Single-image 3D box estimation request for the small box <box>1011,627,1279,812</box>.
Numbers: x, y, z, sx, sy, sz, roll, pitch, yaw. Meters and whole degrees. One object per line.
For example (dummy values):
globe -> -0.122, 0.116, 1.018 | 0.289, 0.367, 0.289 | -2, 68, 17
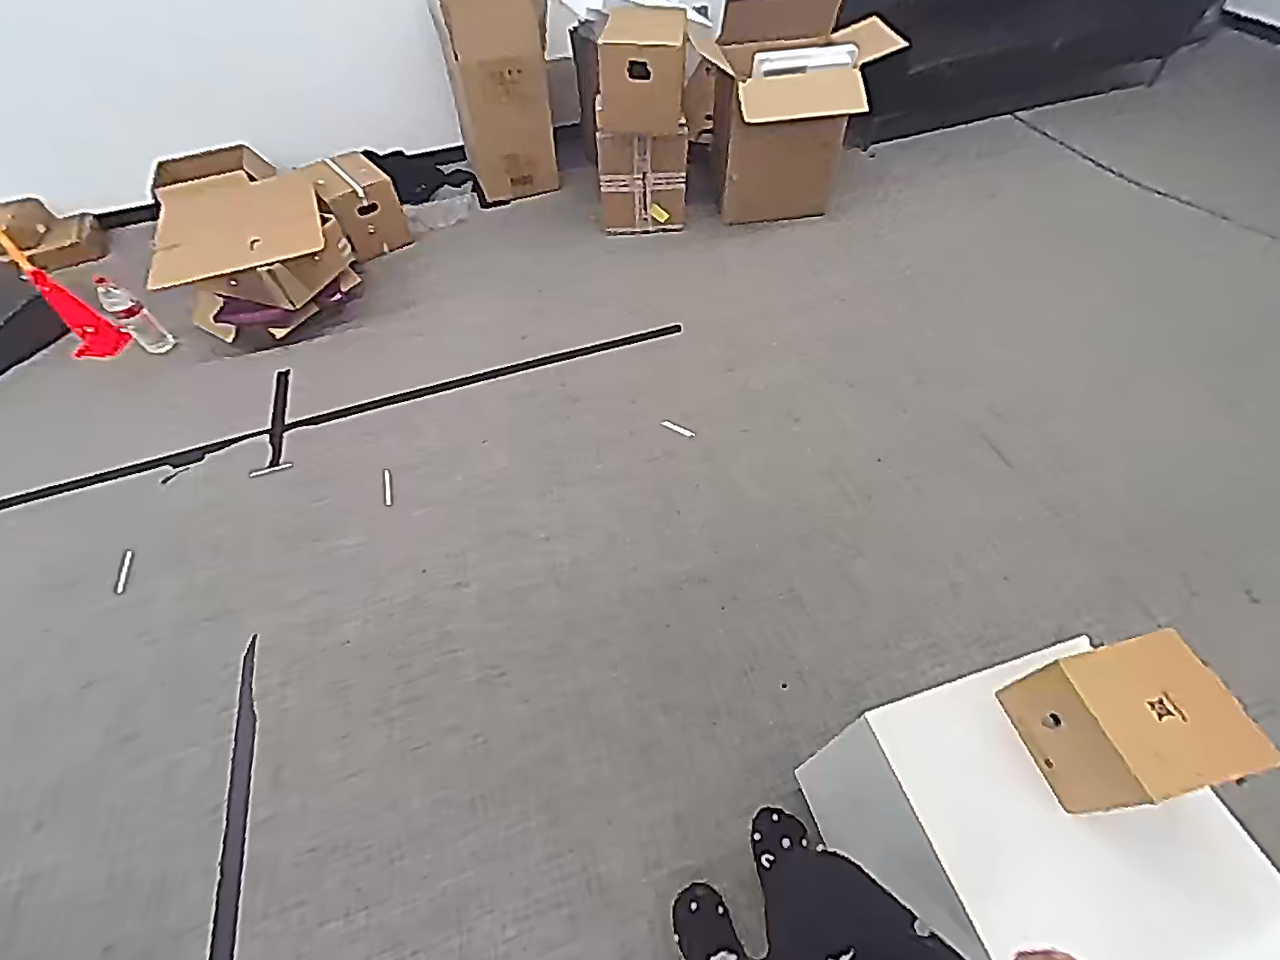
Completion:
small box -> 0.632, 0.318, 0.708 | 0.179, 0.176, 0.168 | -12, 55, -6
